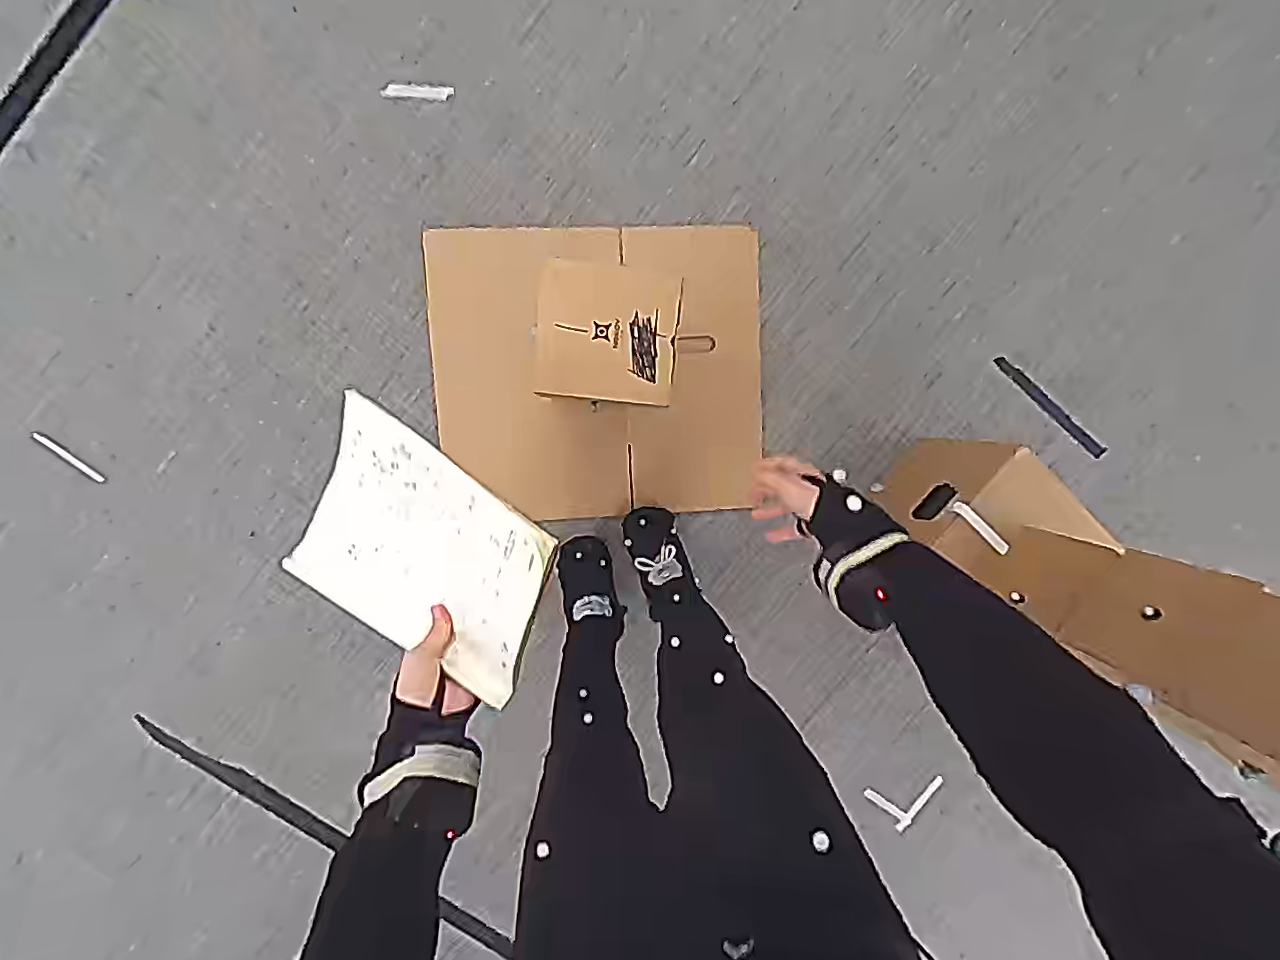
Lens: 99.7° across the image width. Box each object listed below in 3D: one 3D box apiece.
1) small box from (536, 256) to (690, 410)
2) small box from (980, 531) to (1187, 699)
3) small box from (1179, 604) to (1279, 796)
[{"bbox_3d":[-0.042,-0.188,0.738,0.179,0.176,0.168,5,96,-7],"label":"small box"},{"bbox_3d":[0.707,0.210,0.888,0.168,0.176,0.179,36,93,-10],"label":"small box"},{"bbox_3d":[0.745,0.261,0.565,0.168,0.176,0.179,38,93,-9],"label":"small box"}]
